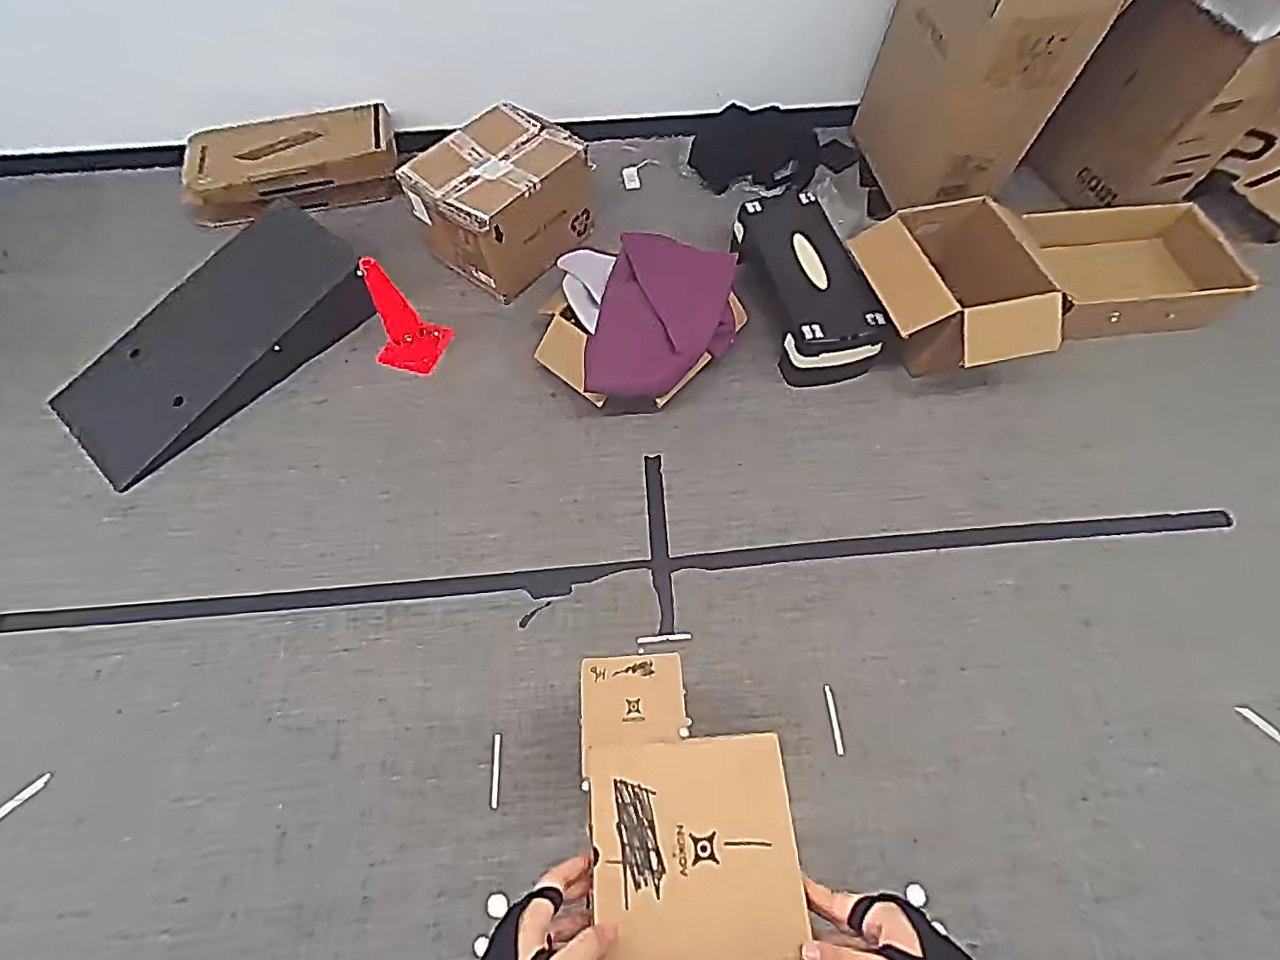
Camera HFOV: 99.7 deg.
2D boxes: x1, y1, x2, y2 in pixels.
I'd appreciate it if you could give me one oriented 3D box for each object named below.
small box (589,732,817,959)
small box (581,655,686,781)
[{"bbox_3d":[0.045,0.344,0.521,0.179,0.176,0.168,-3,62,-4],"label":"small box"},{"bbox_3d":[-0.007,0.402,0.916,0.168,0.176,0.179,-3,64,0],"label":"small box"}]
